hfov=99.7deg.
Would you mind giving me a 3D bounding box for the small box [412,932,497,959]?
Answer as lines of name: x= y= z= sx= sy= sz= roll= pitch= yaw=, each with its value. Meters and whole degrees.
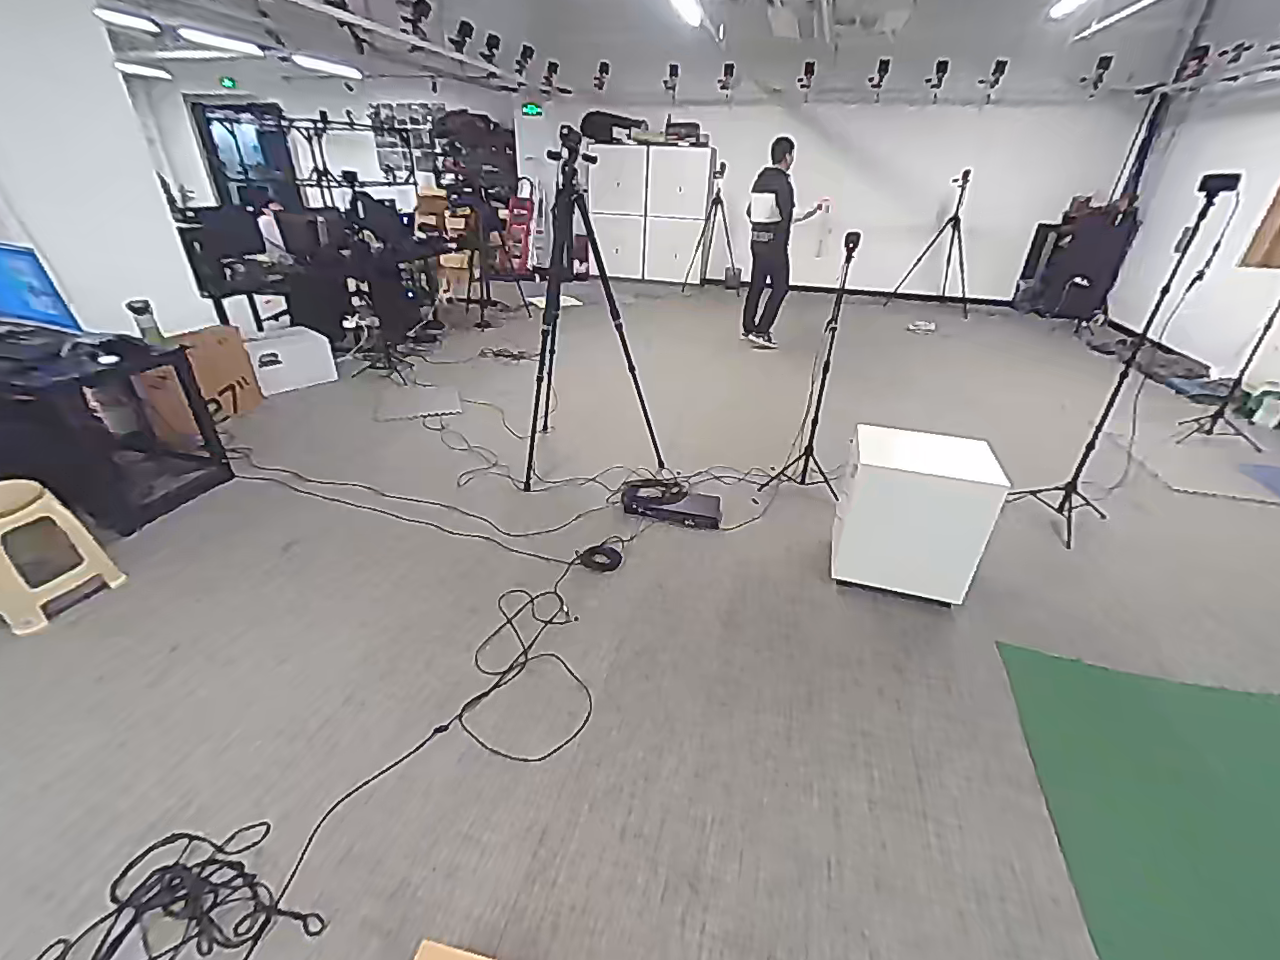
small box: x=-0.381 y=1.045 z=1.056 sx=0.168 sy=0.176 sz=0.179 roll=8 pitch=30 yaw=10
